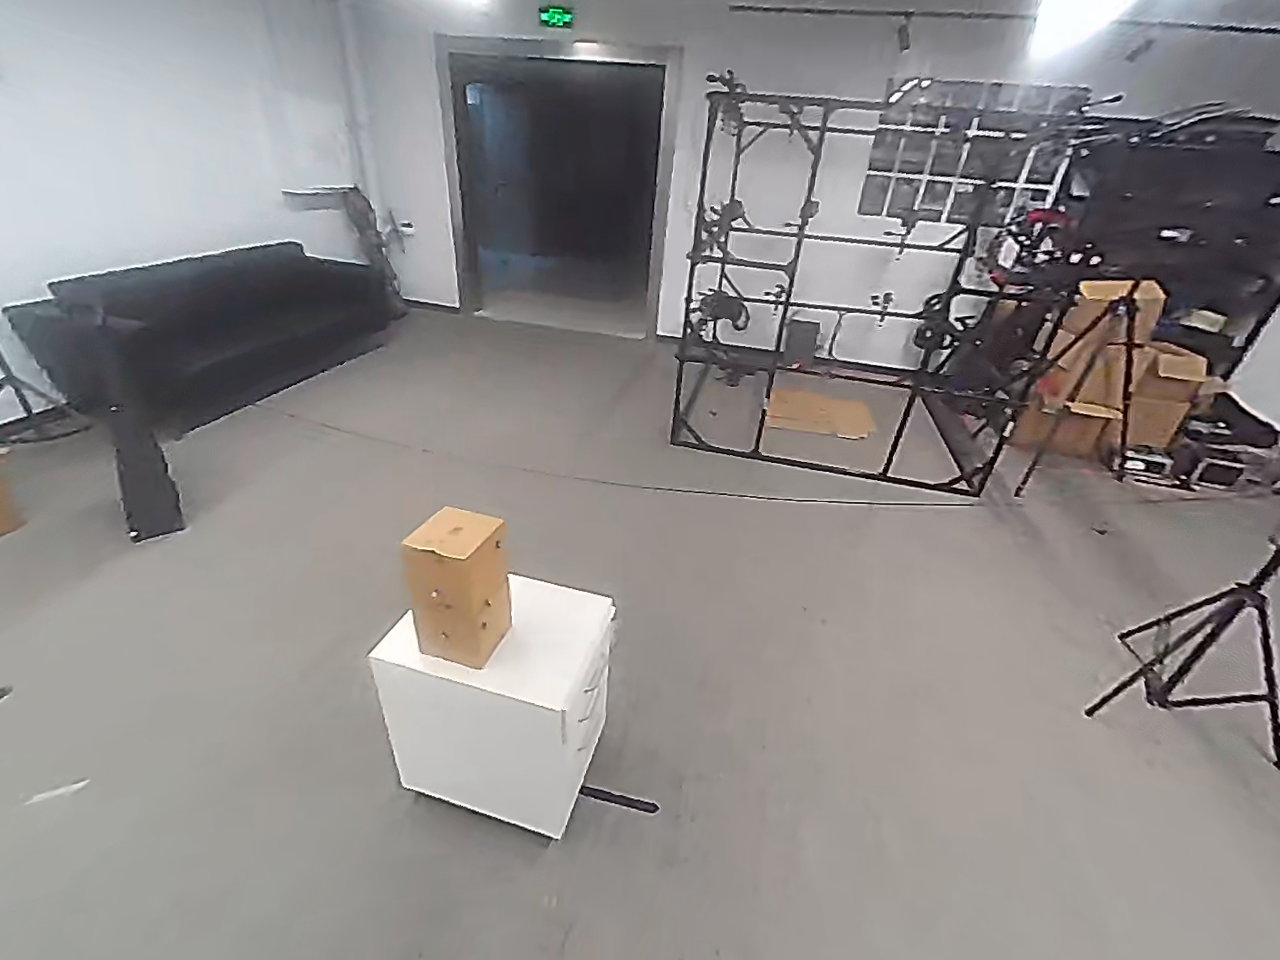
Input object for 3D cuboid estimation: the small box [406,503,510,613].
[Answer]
[{"bbox_3d":[-0.422,0.183,1.282,0.168,0.176,0.179,12,31,14],"label":"small box"}]
